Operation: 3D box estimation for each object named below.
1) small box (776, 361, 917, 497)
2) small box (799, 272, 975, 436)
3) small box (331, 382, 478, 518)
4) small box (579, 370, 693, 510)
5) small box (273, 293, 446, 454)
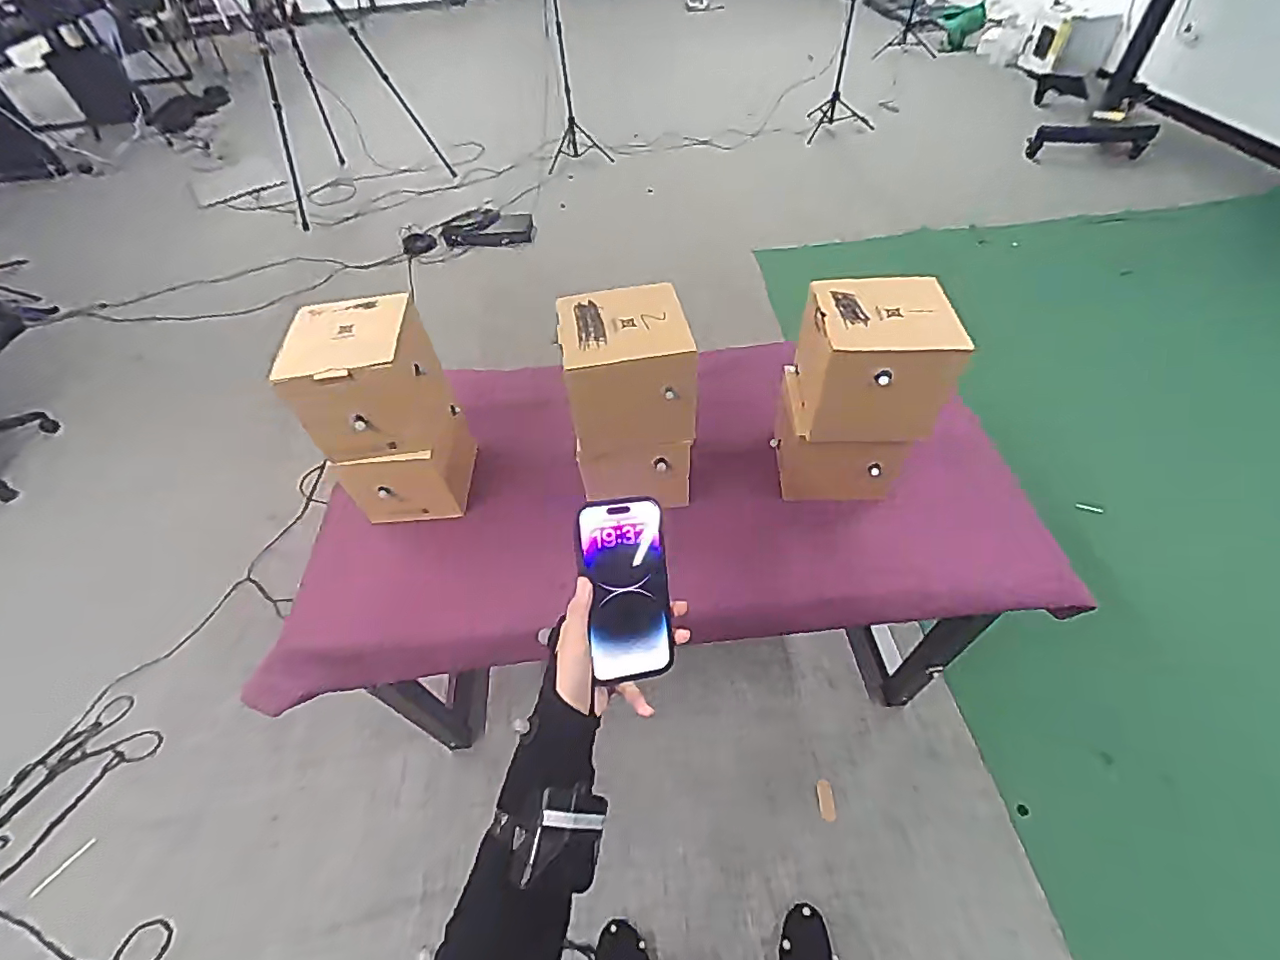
[{"bbox_3d":[0.334,-0.083,0.911,0.179,0.176,0.168,-1,51,6],"label":"small box"},{"bbox_3d":[0.332,-0.175,0.775,0.179,0.176,0.168,0,51,4],"label":"small box"},{"bbox_3d":[-0.395,-0.045,0.946,0.168,0.176,0.179,-5,51,1],"label":"small box"},{"bbox_3d":[-0.005,-0.065,0.925,0.179,0.176,0.168,-5,51,1],"label":"small box"},{"bbox_3d":[-0.408,-0.155,0.824,0.168,0.176,0.179,-8,51,-2],"label":"small box"}]
